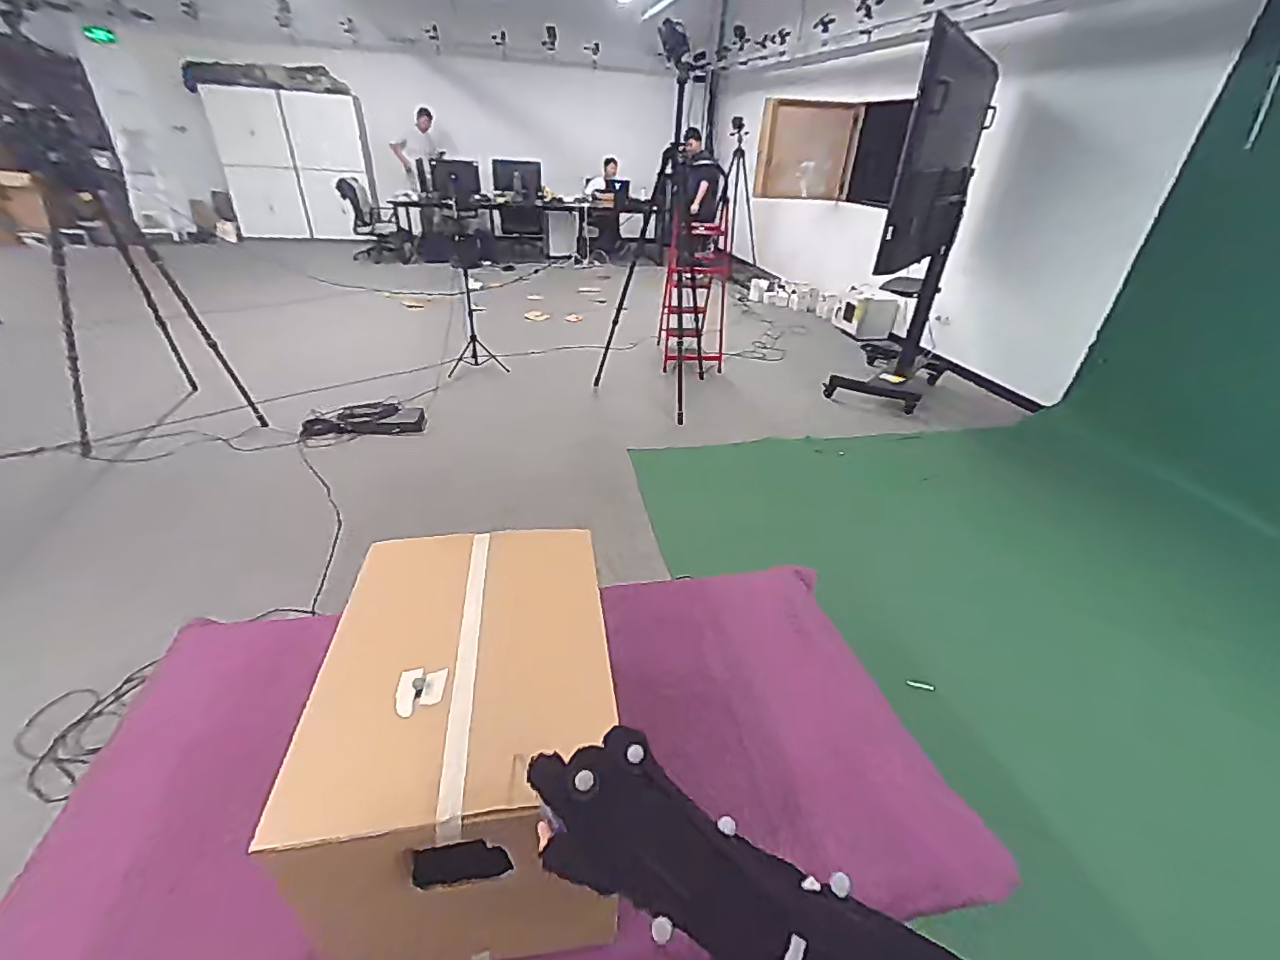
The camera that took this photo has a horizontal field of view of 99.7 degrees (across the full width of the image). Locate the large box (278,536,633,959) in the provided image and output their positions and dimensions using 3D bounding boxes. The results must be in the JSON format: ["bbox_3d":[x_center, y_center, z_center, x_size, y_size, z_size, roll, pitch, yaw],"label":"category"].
[{"bbox_3d":[-0.202,0.319,0.719,0.320,0.320,0.408,-2,33,-10],"label":"large box"}]
